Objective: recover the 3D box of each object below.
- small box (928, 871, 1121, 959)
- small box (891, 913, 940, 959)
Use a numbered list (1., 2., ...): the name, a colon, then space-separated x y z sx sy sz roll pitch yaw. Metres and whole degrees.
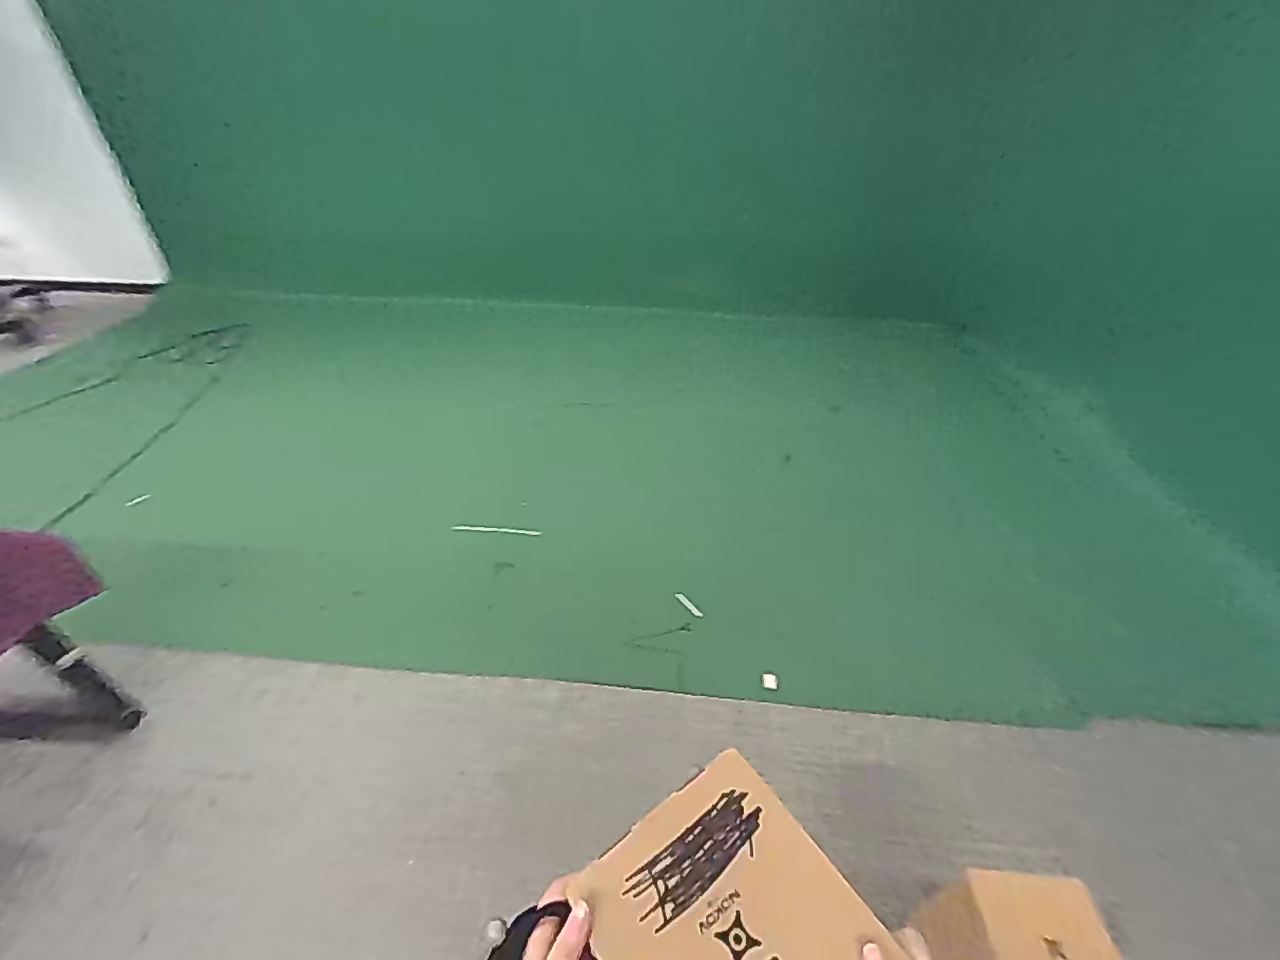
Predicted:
1. small box: 0.526 0.671 0.736 0.168 0.176 0.179 5 38 1
2. small box: 0.515 0.804 0.830 0.168 0.176 0.179 4 37 1
